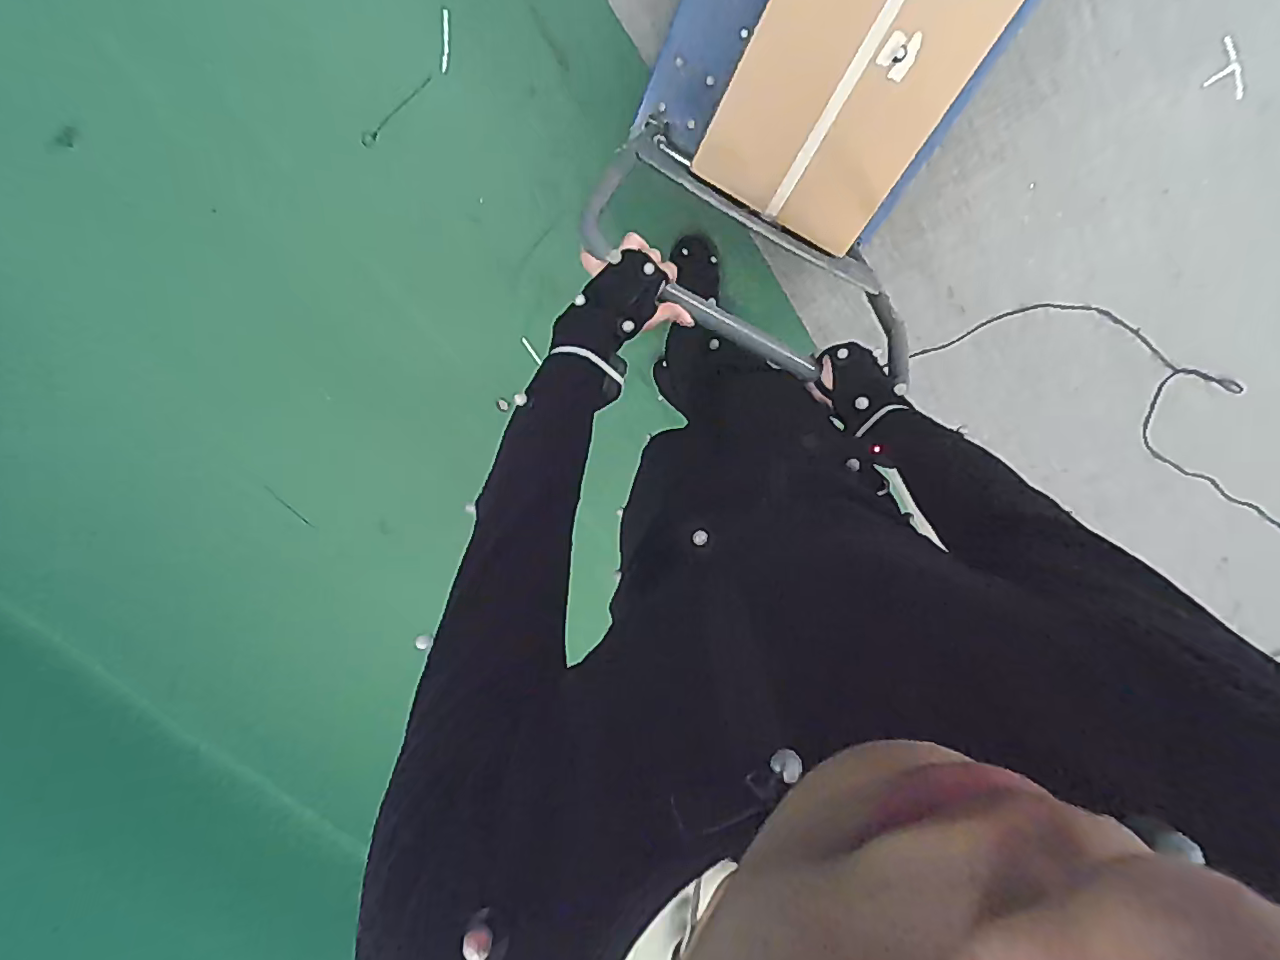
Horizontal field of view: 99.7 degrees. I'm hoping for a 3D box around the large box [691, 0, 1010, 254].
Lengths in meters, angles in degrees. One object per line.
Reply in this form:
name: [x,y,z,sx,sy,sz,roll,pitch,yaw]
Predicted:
large box: [0.323,-0.690,0.959,0.320,0.320,0.408,25,125,-10]
